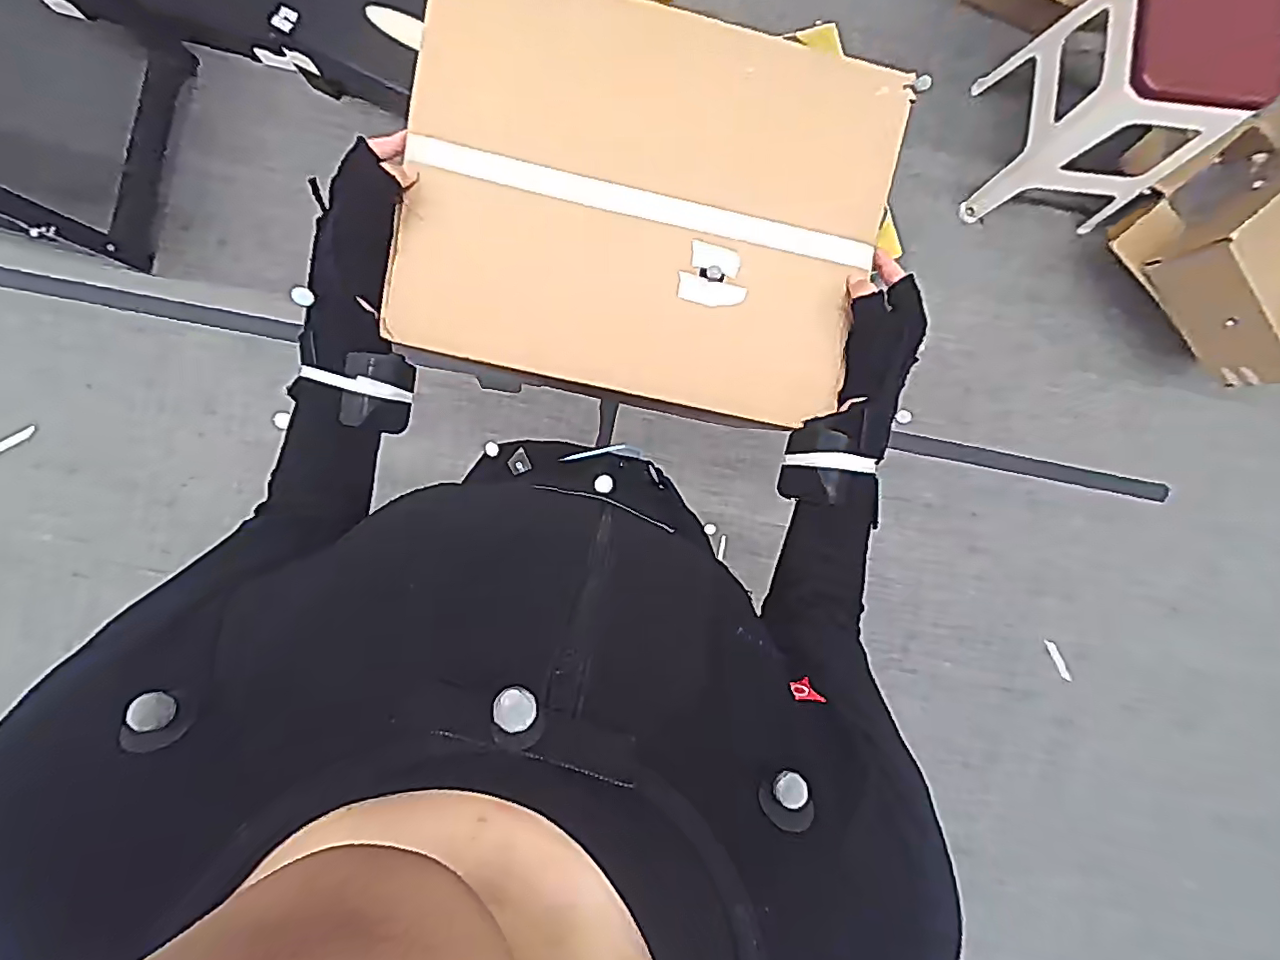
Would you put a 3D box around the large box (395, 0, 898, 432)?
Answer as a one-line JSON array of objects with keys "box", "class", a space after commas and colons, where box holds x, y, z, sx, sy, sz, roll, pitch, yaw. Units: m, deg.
[{"box": [-0.006, -0.246, 0.620, 0.408, 0.320, 0.320, 12, 97, -6], "class": "large box"}]
